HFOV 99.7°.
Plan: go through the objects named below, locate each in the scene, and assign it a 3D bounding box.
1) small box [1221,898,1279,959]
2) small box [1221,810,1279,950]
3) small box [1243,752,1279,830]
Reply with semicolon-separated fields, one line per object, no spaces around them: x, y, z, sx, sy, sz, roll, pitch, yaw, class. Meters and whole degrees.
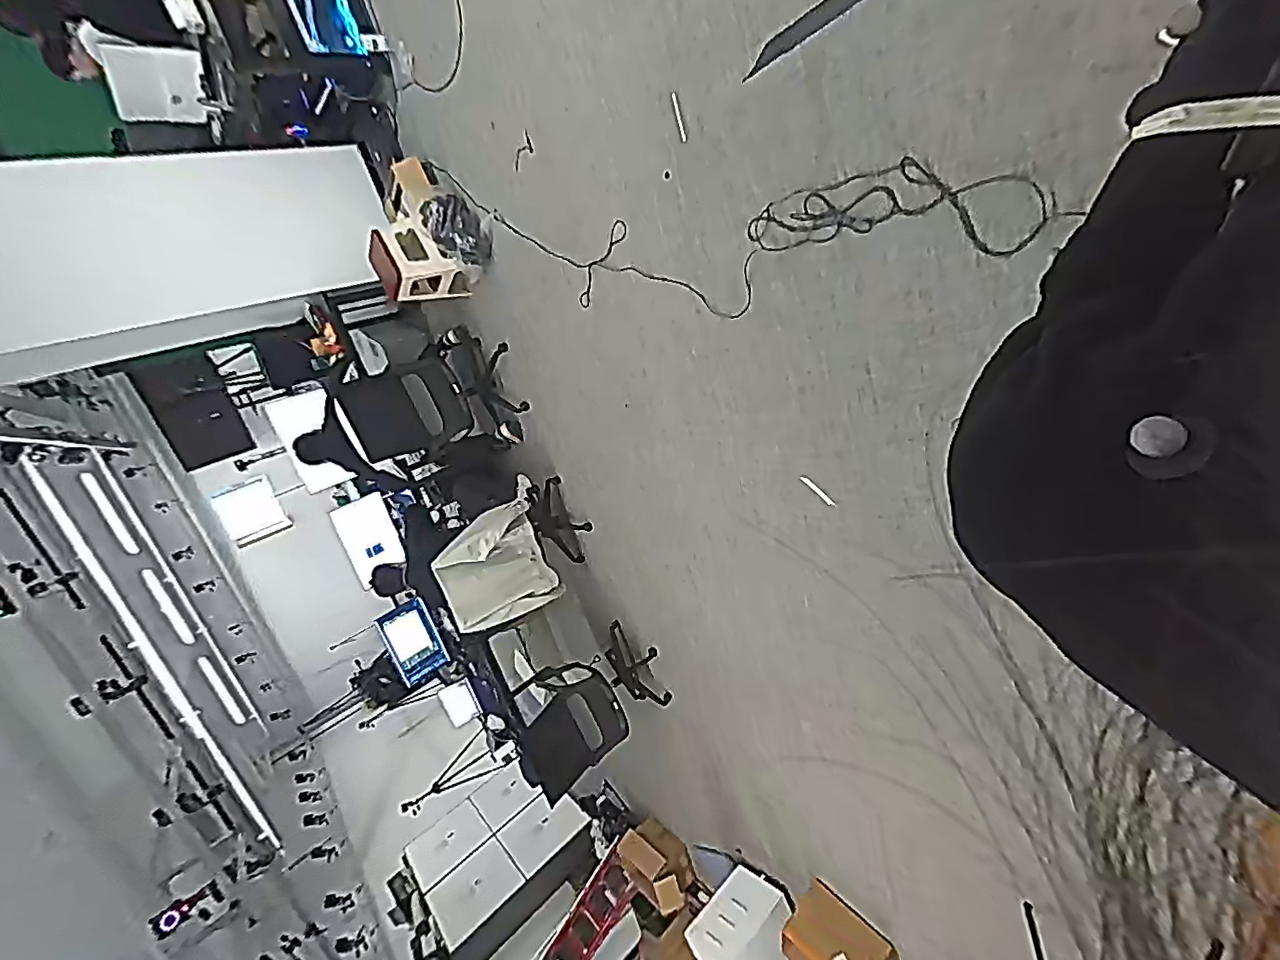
0.921;0.741;0.743;0.168;0.176;0.179;10;120;49;small box
1.037;0.667;0.832;0.168;0.176;0.179;12;122;47;small box
1.166;0.606;0.915;0.179;0.176;0.168;13;123;48;small box
